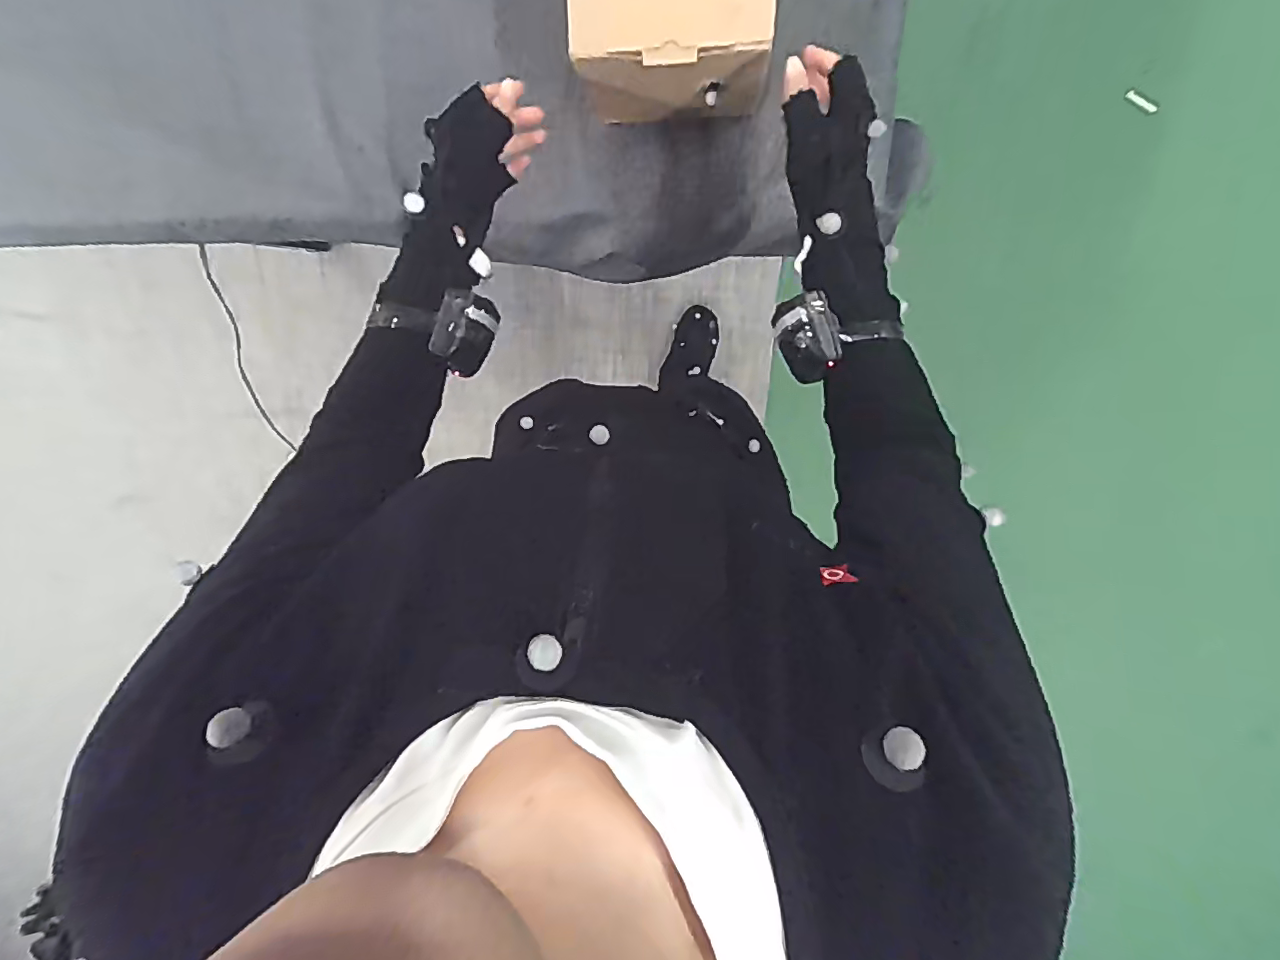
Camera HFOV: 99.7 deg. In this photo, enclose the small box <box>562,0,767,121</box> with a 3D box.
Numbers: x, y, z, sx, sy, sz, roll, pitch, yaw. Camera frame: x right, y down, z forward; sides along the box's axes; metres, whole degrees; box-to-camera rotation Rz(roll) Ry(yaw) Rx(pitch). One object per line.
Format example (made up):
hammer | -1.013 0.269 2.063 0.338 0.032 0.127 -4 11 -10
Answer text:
small box | 0.026 -0.446 0.486 0.168 0.176 0.179 0 106 5
